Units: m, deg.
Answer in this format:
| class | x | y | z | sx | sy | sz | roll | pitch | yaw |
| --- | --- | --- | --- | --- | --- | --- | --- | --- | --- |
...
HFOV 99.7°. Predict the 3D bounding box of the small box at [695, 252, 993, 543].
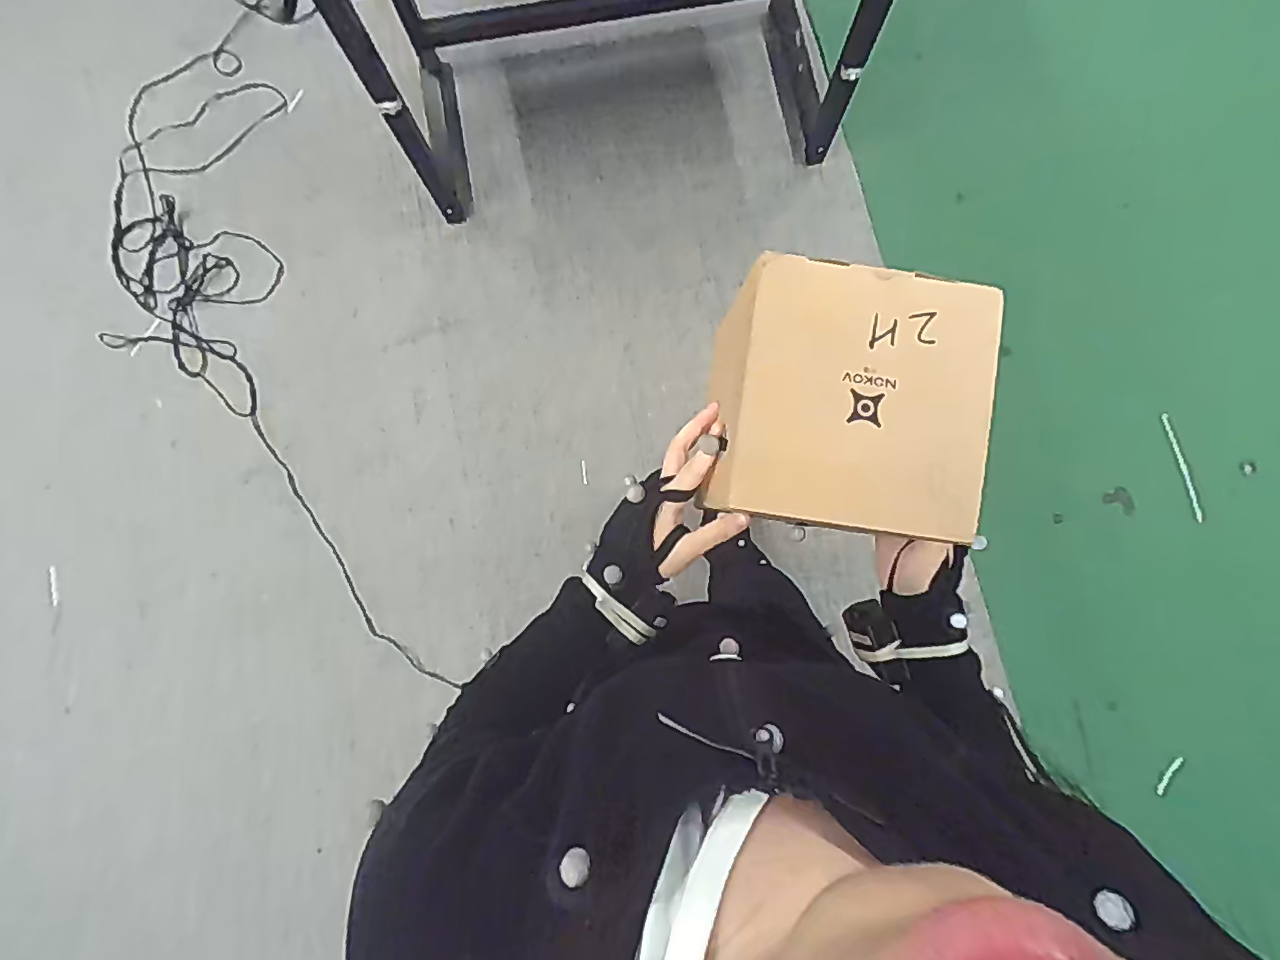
| class | x | y | z | sx | sy | sz | roll | pitch | yaw |
| --- | --- | --- | --- | --- | --- | --- | --- | --- | --- |
| small box | 0.144 | -0.052 | 0.441 | 0.168 | 0.176 | 0.179 | 9 | 86 | -2 |
